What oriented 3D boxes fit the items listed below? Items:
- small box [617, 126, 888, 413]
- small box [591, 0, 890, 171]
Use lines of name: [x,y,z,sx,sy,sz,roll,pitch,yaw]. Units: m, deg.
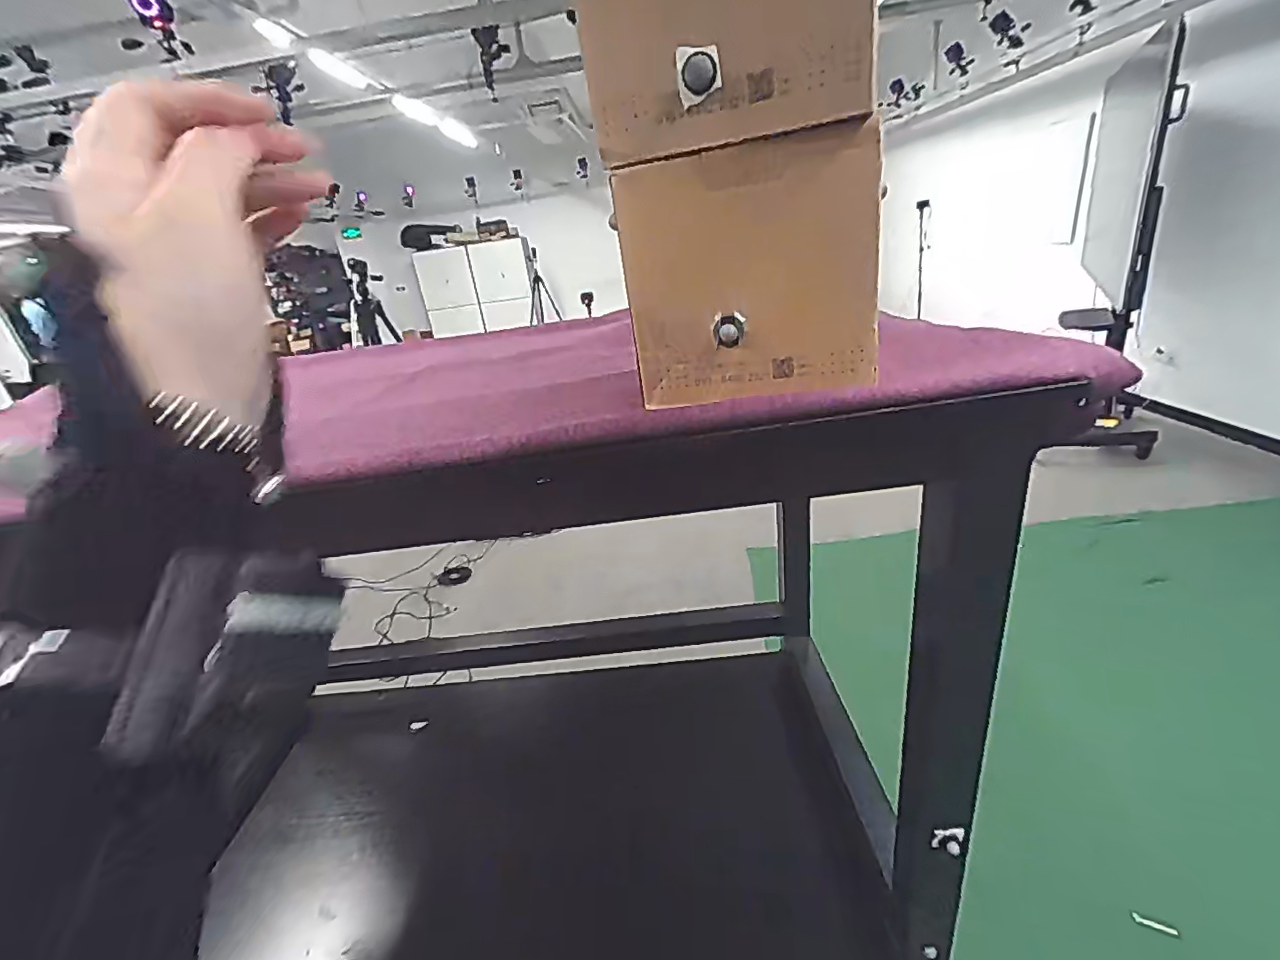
small box: [0.090,-0.161,0.433,0.168,0.176,0.179,-3,26,13]
small box: [0.067,-0.303,0.359,0.168,0.176,0.179,-2,27,17]
